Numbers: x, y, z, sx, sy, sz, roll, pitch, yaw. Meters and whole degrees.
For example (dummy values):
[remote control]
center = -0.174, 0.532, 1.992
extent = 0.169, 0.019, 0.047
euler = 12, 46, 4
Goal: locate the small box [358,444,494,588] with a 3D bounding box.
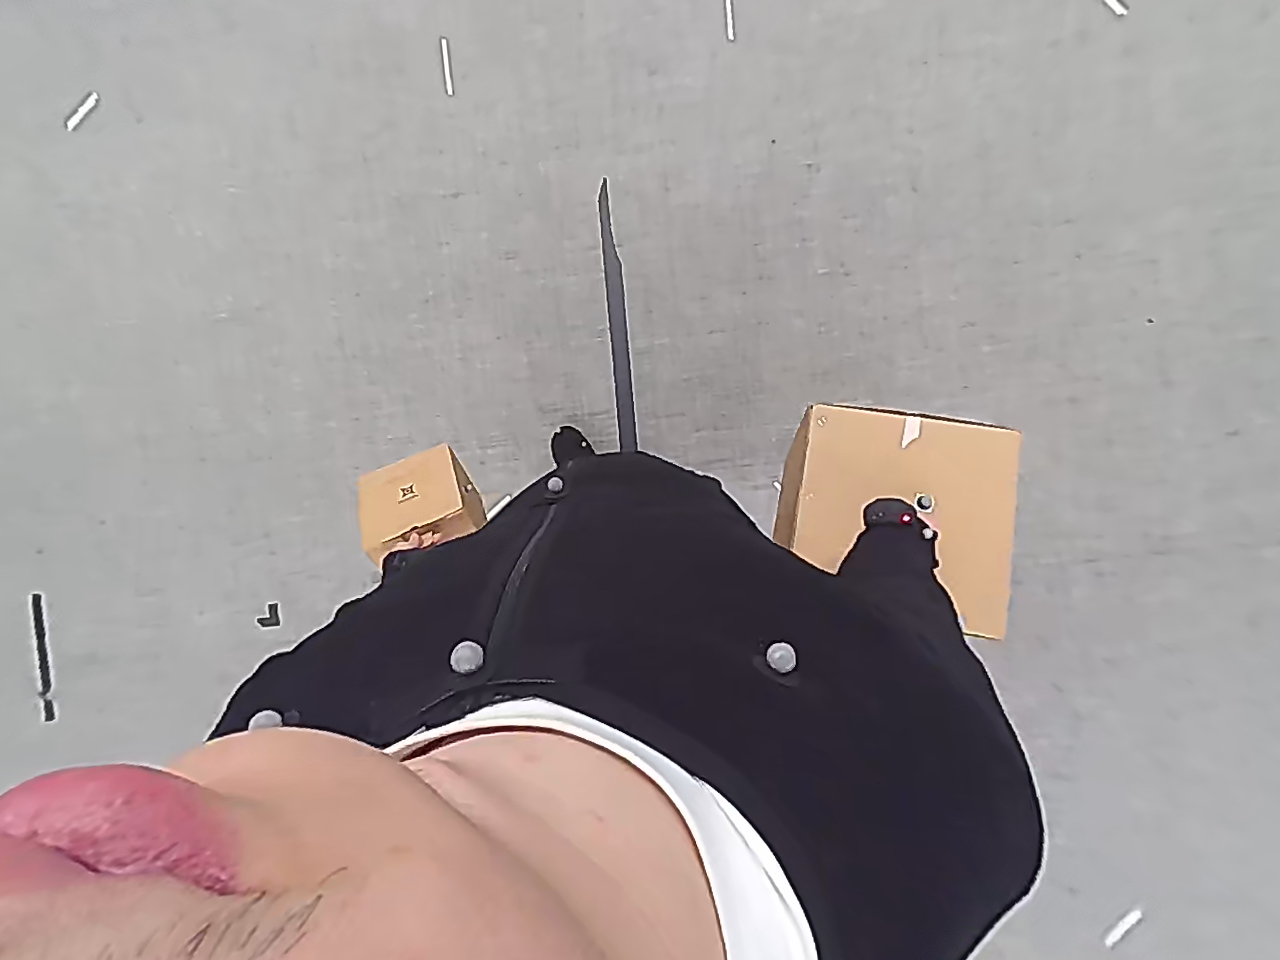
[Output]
[small box]
center = -0.380, 0.072, 0.975
extent = 0.168, 0.176, 0.179
euler = -23, 50, -9
